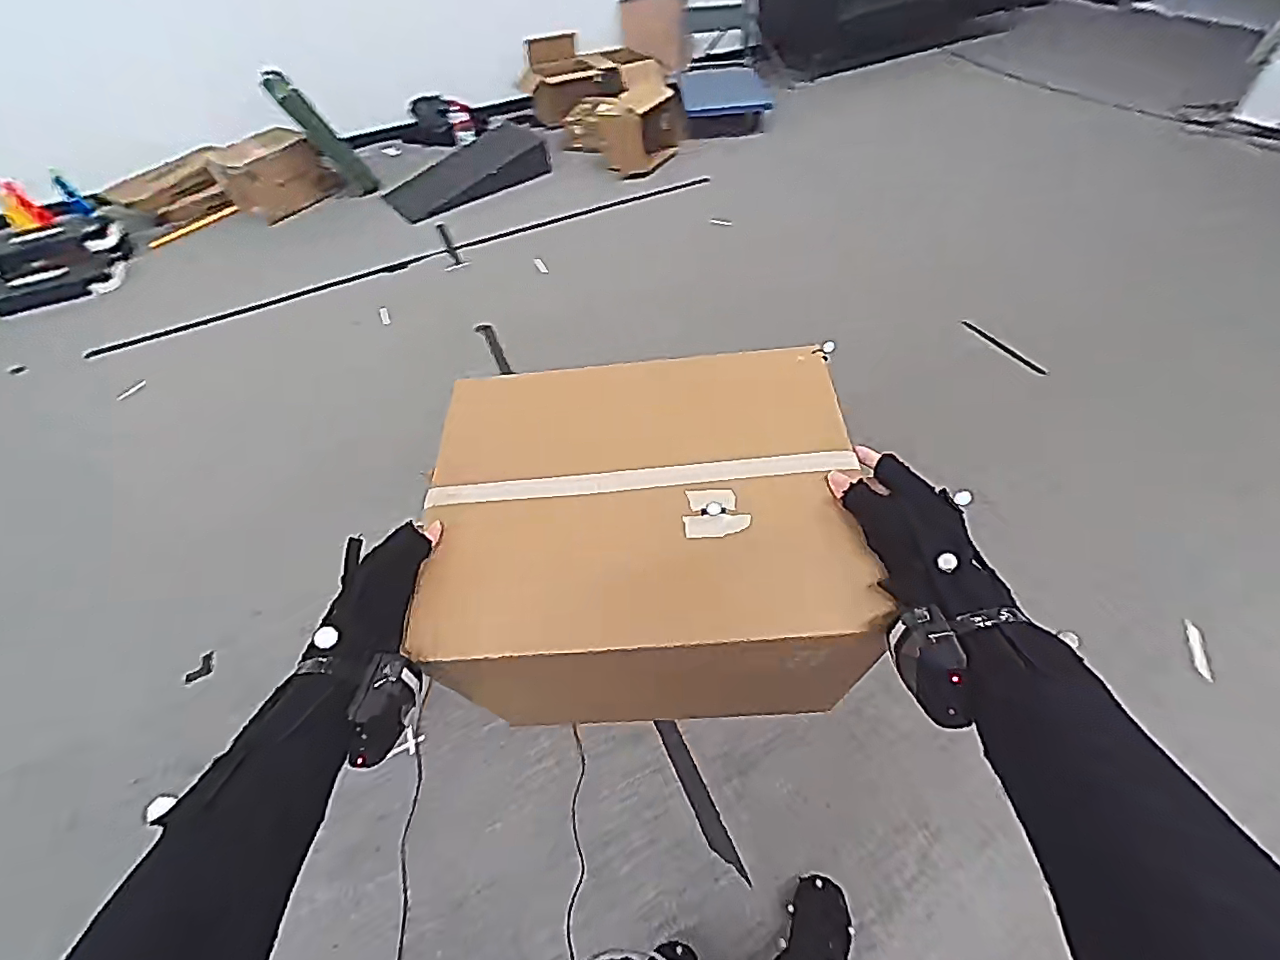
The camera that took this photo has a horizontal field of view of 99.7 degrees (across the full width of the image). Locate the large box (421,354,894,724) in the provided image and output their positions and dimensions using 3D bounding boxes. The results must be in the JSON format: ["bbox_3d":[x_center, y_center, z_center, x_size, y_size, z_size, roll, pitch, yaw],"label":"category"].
[{"bbox_3d":[0.014,0.086,0.649,0.408,0.320,0.320,-5,57,3],"label":"large box"}]
